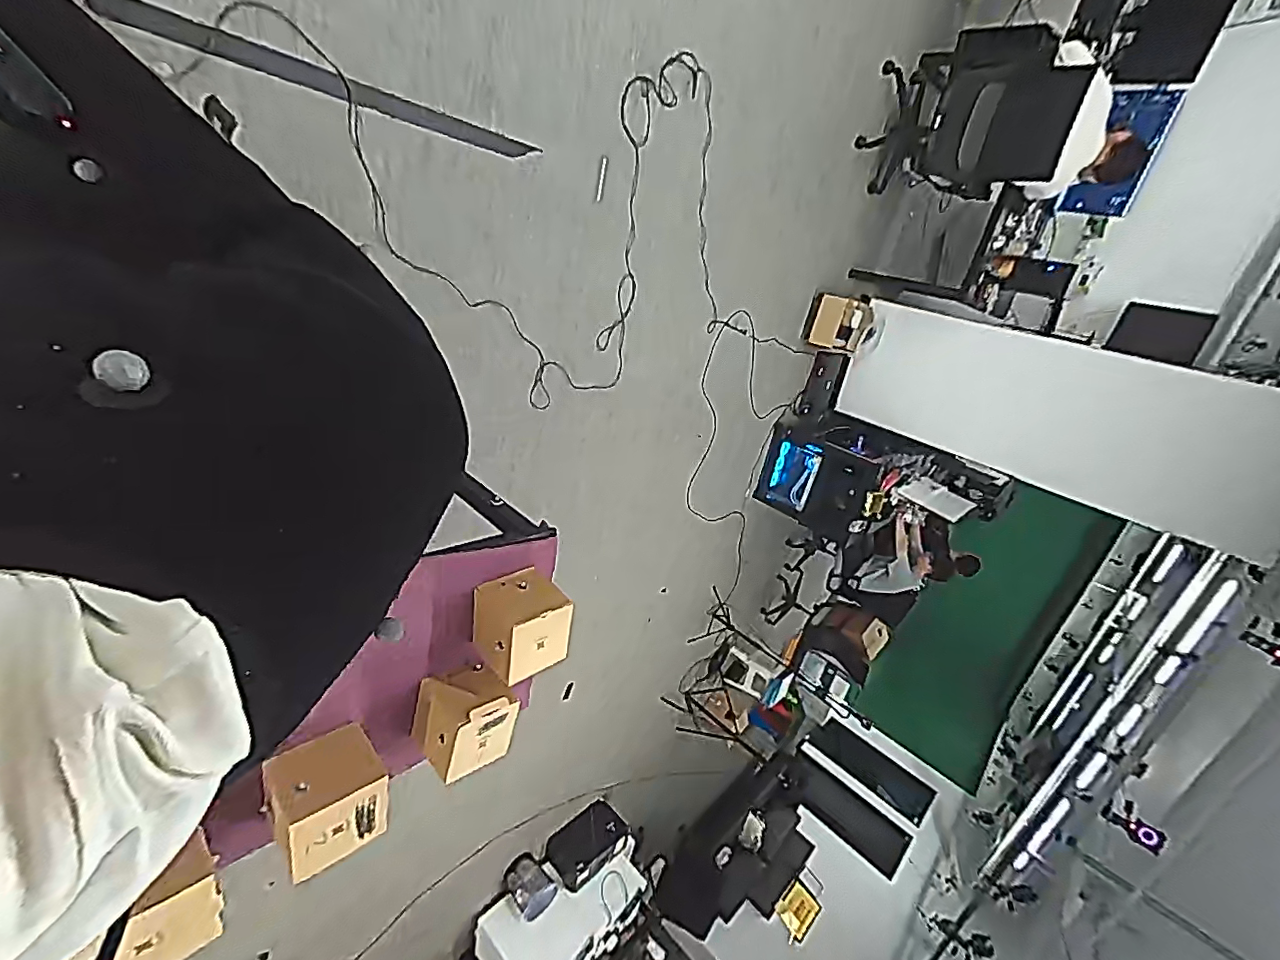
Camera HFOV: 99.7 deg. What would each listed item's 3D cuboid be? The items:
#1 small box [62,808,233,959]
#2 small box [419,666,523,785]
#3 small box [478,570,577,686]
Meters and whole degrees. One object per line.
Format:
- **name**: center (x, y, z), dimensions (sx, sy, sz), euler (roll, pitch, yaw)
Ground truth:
- **small box**: center (-0.808, 0.697, 0.893), dimensions (0.179, 0.176, 0.168), euler (-13, 121, -47)
- **small box**: center (-0.408, 0.571, 1.293), dimensions (0.168, 0.176, 0.179), euler (-5, 118, -48)
- **small box**: center (-0.274, 0.346, 1.295), dimensions (0.168, 0.176, 0.179), euler (-16, 125, -42)
